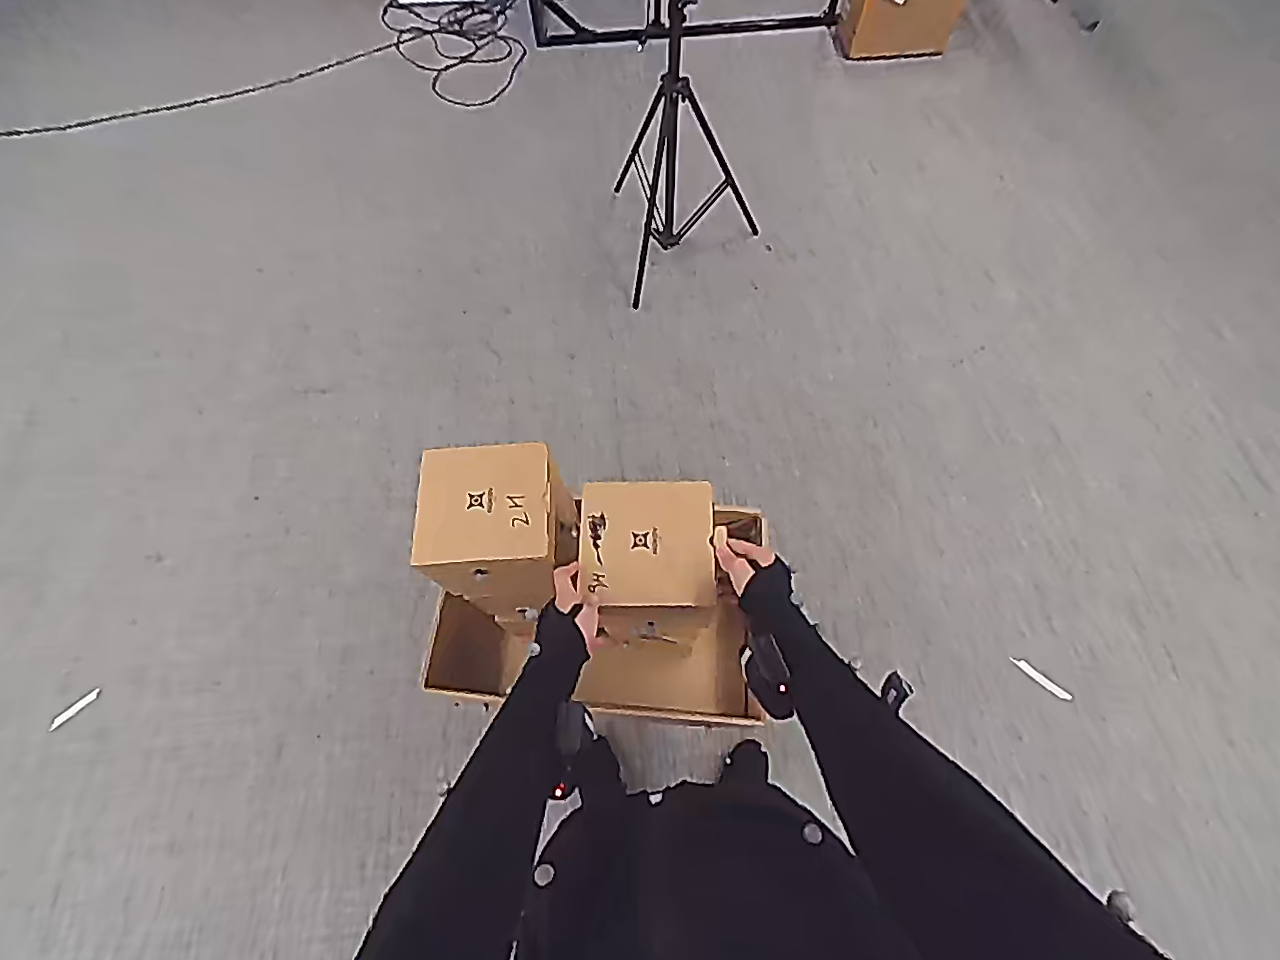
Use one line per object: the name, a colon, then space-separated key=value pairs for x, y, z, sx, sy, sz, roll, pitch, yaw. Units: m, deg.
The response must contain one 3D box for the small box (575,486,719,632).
small box: x=0.011 y=0.115 z=0.755 sx=0.179 sy=0.176 sz=0.168 roll=0 pitch=66 yaw=2
